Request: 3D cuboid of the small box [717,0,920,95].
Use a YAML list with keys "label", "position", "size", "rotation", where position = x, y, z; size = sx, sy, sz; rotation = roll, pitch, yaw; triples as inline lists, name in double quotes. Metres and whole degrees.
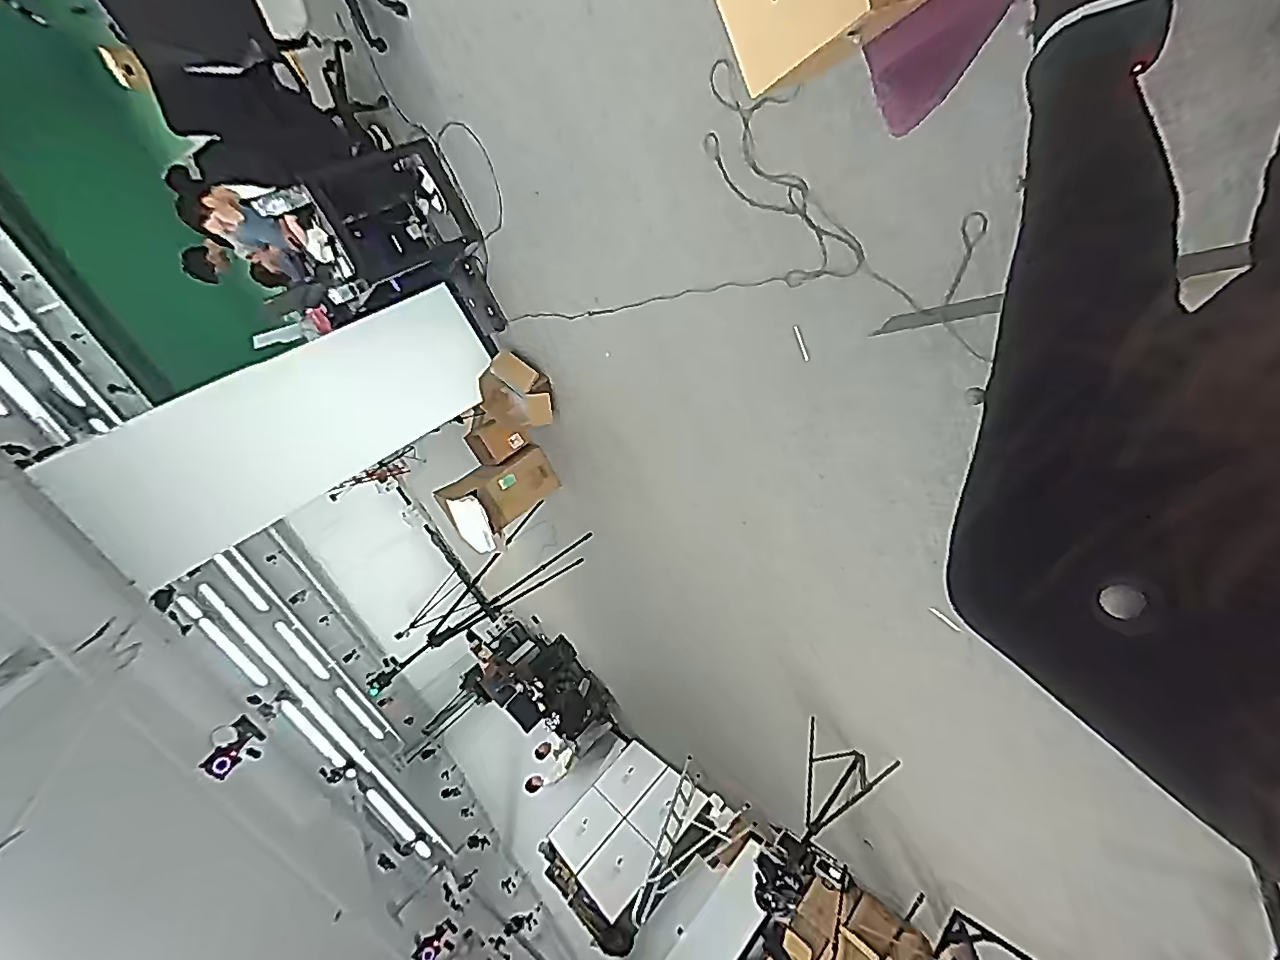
- label: "small box"
  position: [0.214, -0.608, 0.646]
  size: [0.179, 0.176, 0.168]
  rotation: [1, 125, 55]
